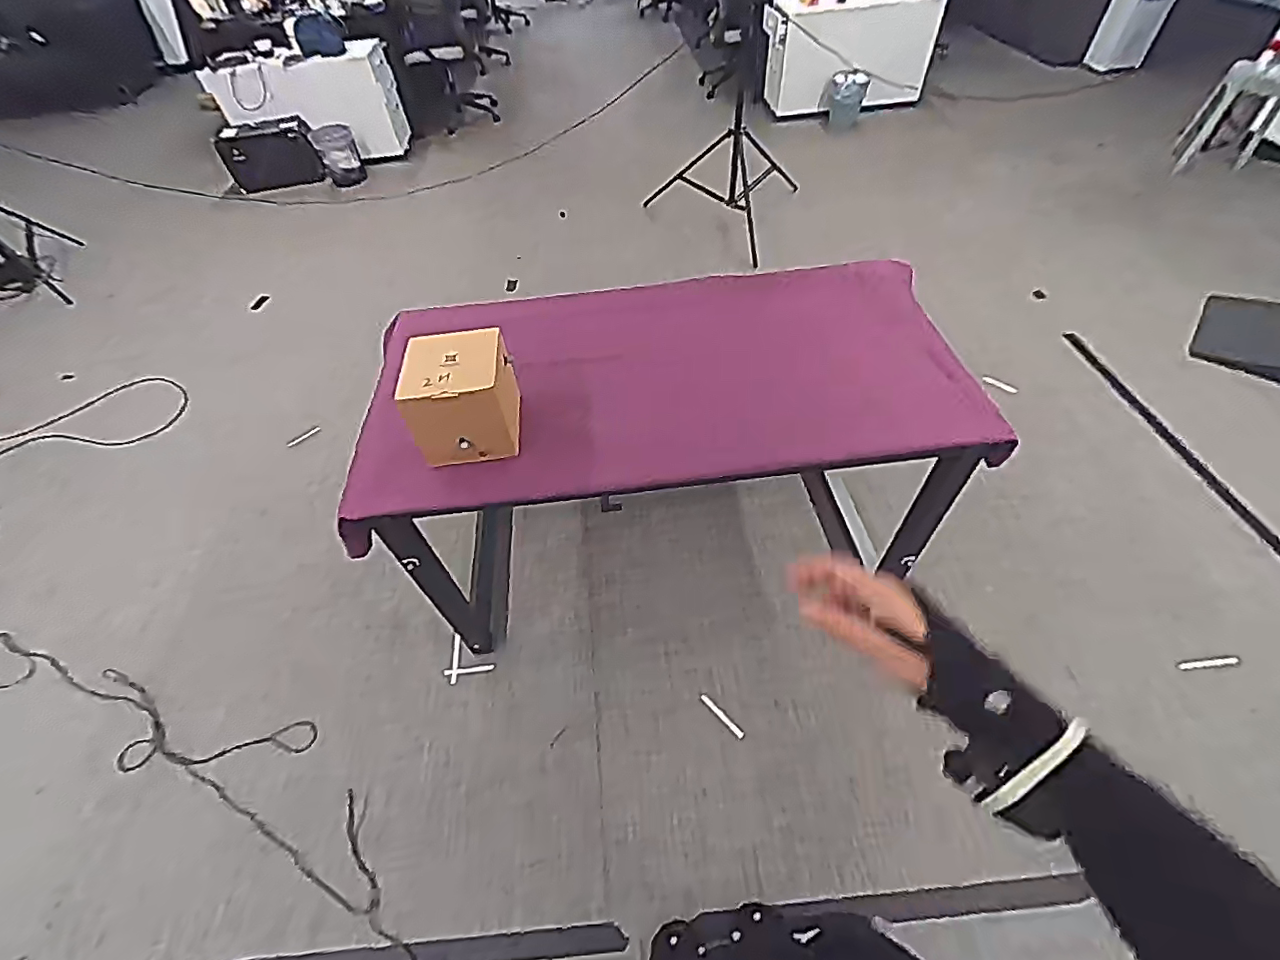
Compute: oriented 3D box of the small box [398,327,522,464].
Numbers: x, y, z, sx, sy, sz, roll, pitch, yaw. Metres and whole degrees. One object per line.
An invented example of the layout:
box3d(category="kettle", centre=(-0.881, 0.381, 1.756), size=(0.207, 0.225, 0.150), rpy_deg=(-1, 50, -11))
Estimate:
box3d(category="small box", centre=(-0.318, -0.154, 0.995), size=(0.168, 0.176, 0.179), rpy_deg=(-8, 51, -1))
